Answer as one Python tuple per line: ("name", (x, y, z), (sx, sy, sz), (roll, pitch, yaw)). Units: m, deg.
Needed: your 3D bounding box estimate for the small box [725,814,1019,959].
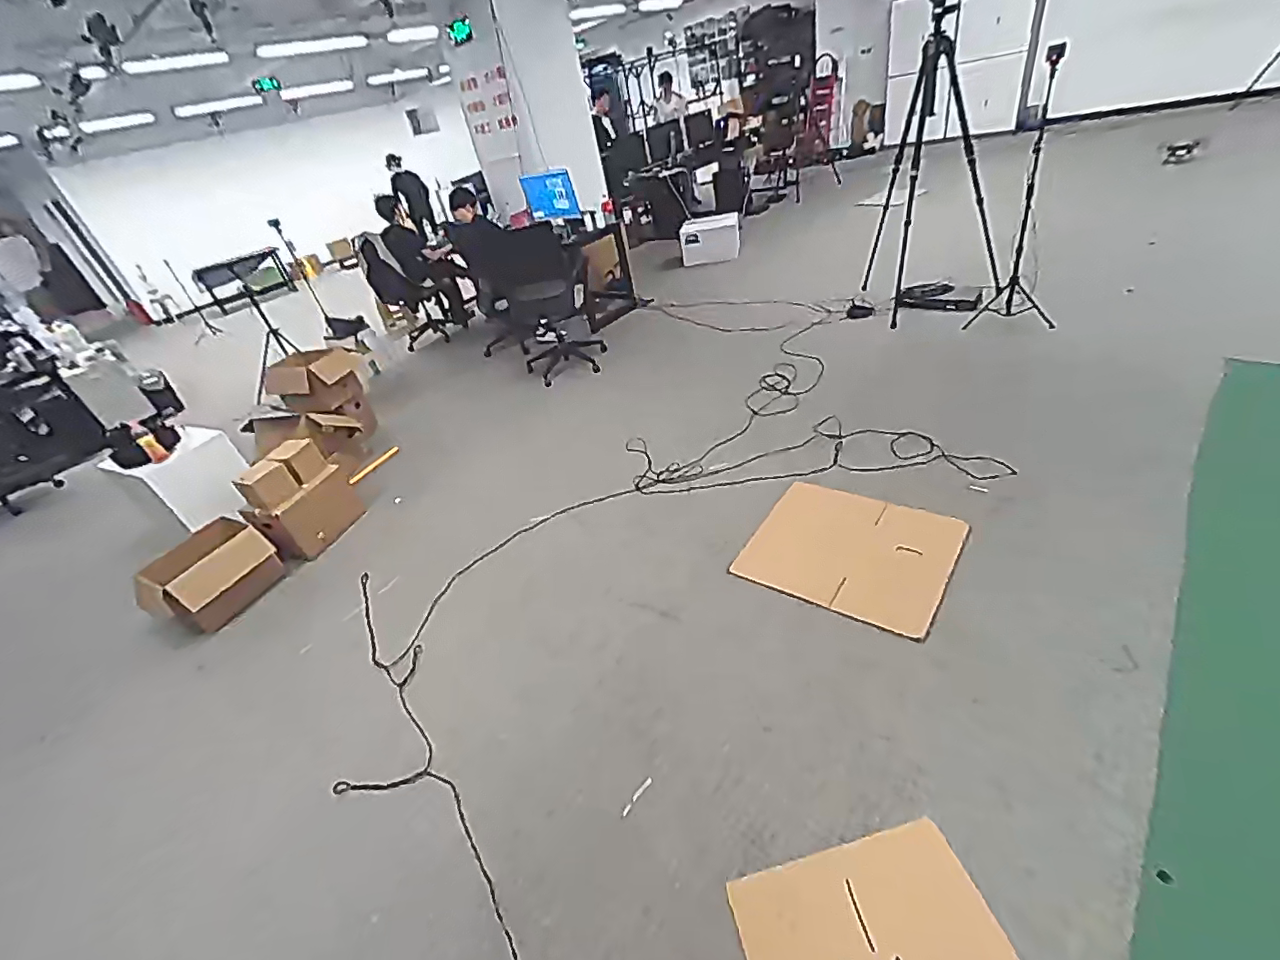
("small box", (0.171, 0.382, 0.379), (0.168, 0.176, 0.179), (-15, 35, -5))
